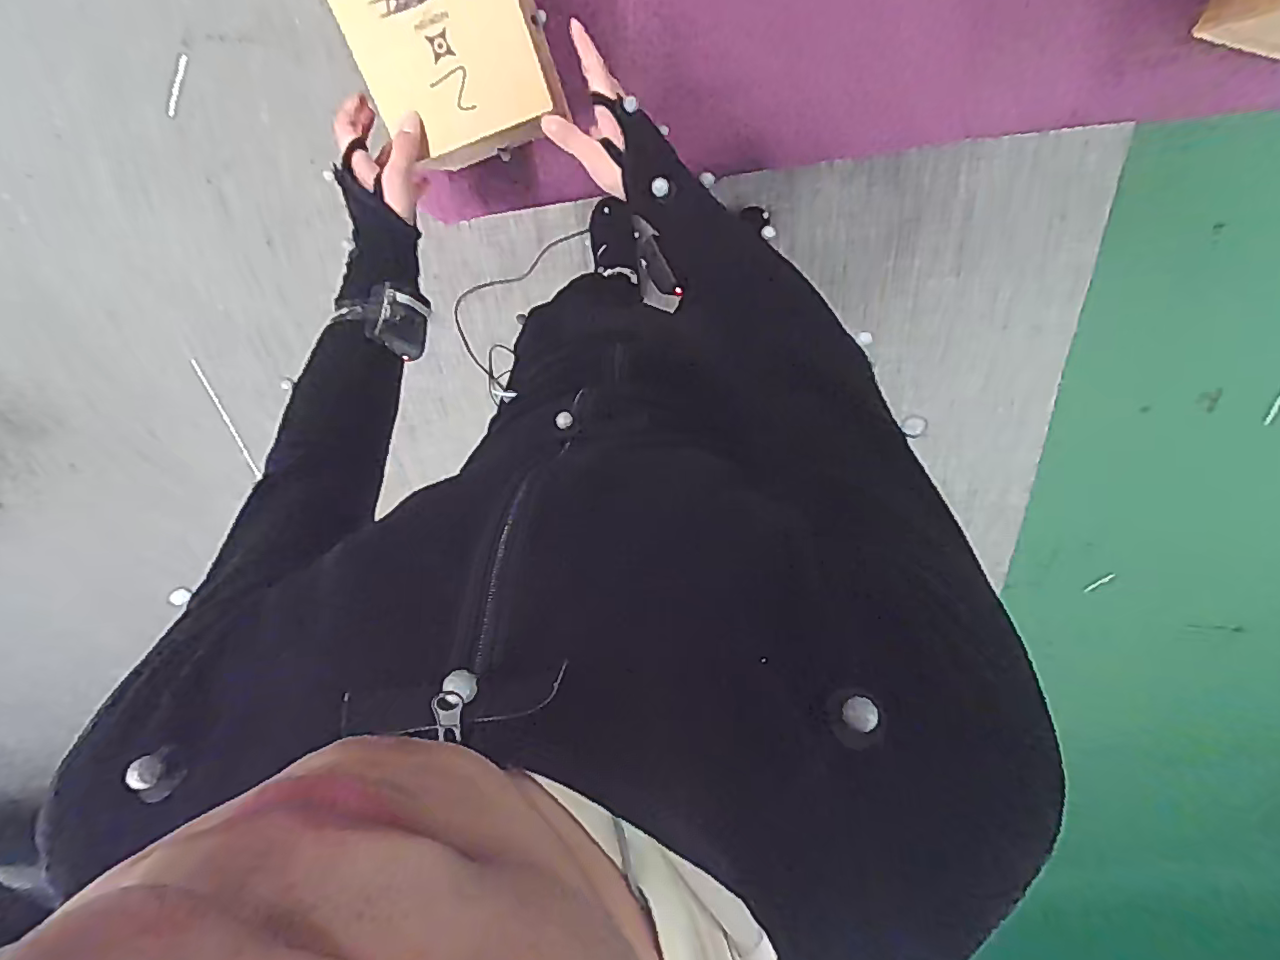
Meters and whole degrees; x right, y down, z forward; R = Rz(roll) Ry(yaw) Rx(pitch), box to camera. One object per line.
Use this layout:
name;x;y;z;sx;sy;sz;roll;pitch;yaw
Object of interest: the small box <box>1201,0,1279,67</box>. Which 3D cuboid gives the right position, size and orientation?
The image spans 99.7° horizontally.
small box;0.715;-0.518;0.514;0.168;0.176;0.179;11;118;-5
